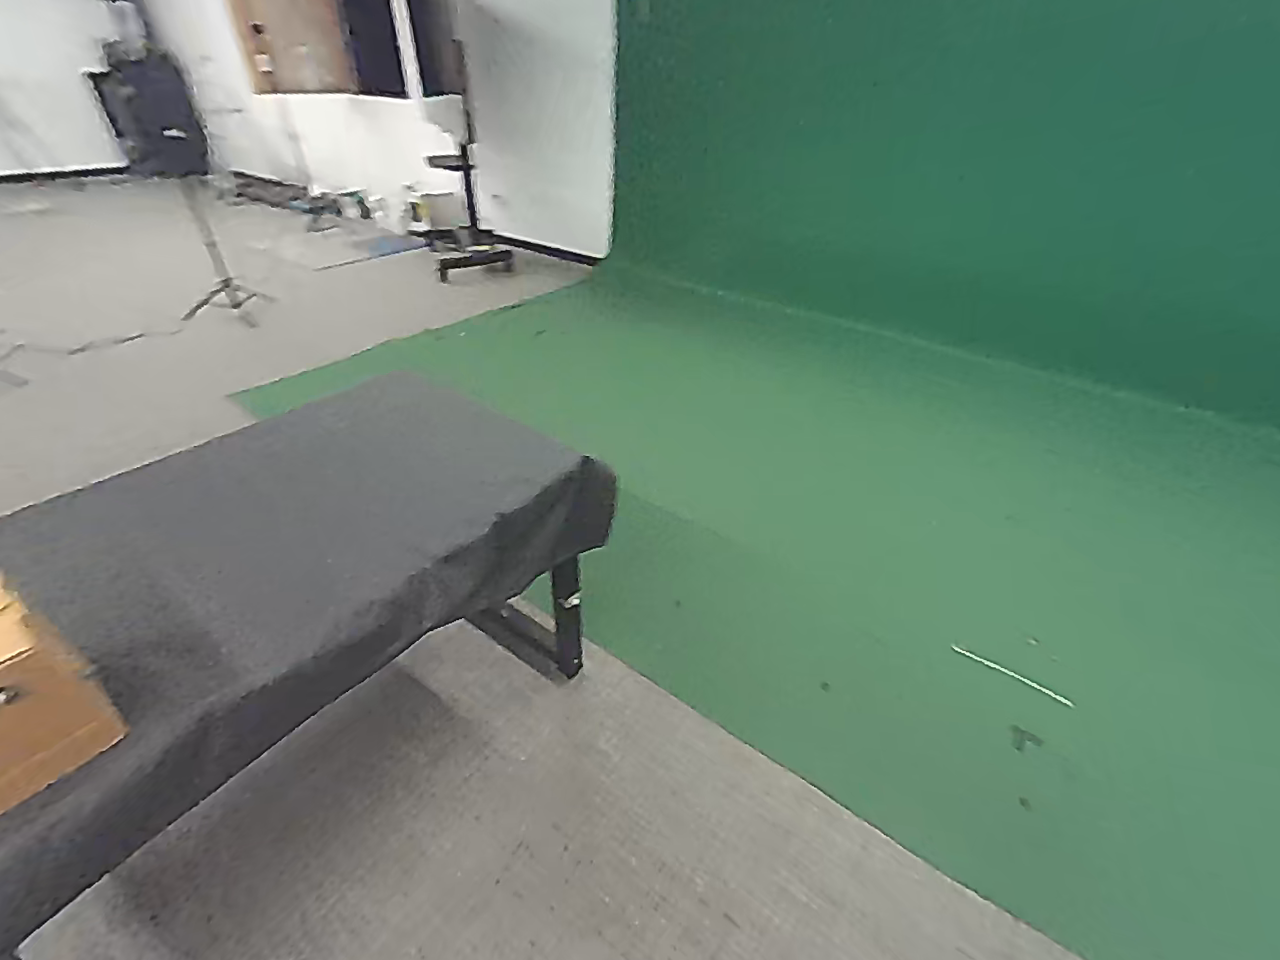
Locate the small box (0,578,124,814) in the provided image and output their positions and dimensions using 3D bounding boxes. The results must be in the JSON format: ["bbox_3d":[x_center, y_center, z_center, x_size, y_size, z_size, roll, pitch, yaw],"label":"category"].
[{"bbox_3d":[-0.695,0.241,0.549,0.168,0.176,0.179,24,41,29],"label":"small box"}]
